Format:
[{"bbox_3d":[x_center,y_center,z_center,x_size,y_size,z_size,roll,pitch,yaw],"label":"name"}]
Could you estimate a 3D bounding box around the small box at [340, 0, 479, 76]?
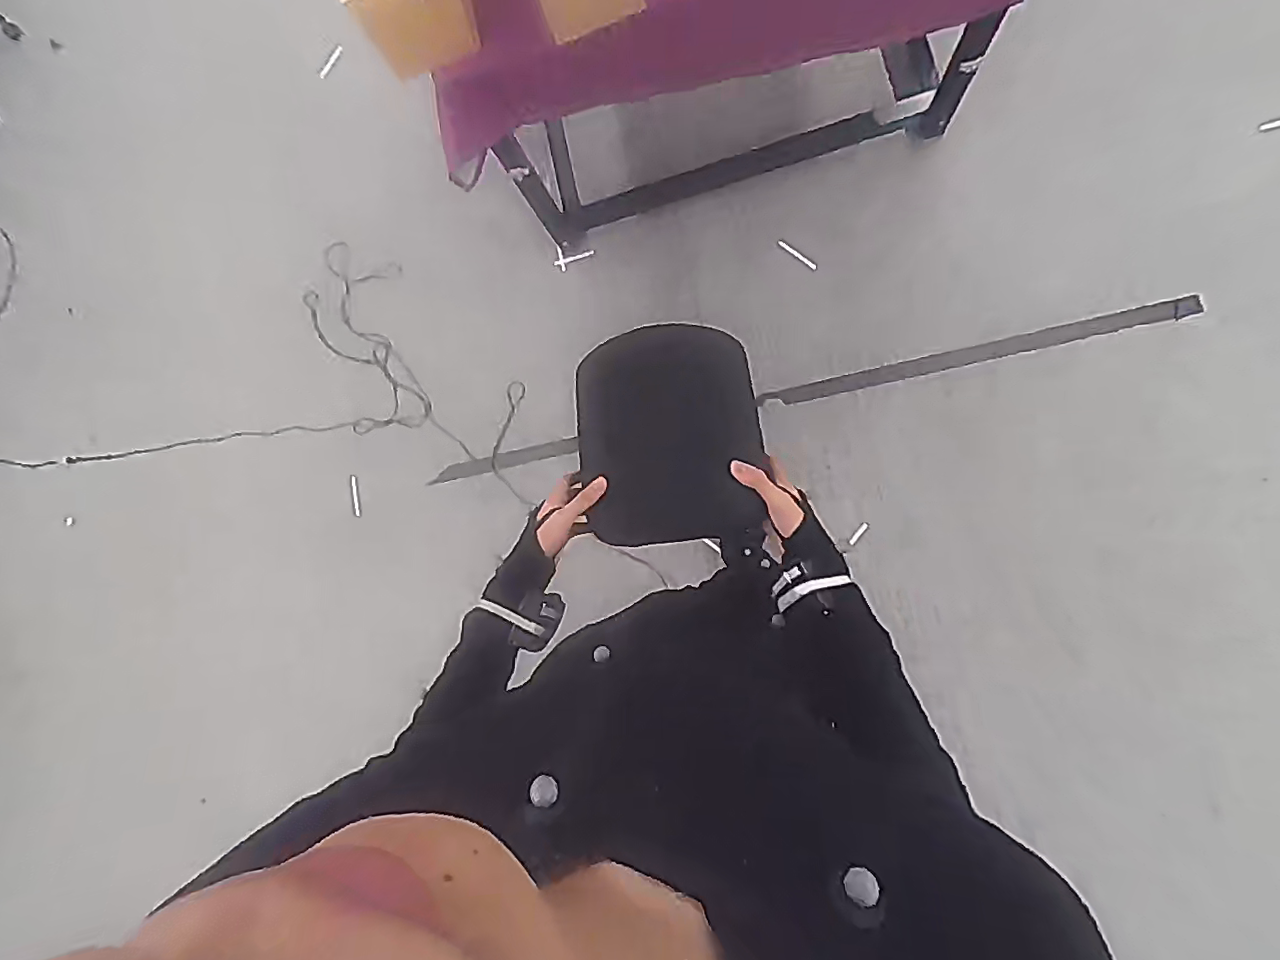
[{"bbox_3d":[-0.419,-0.884,0.976,0.179,0.176,0.168,-14,83,9],"label":"small box"}]
